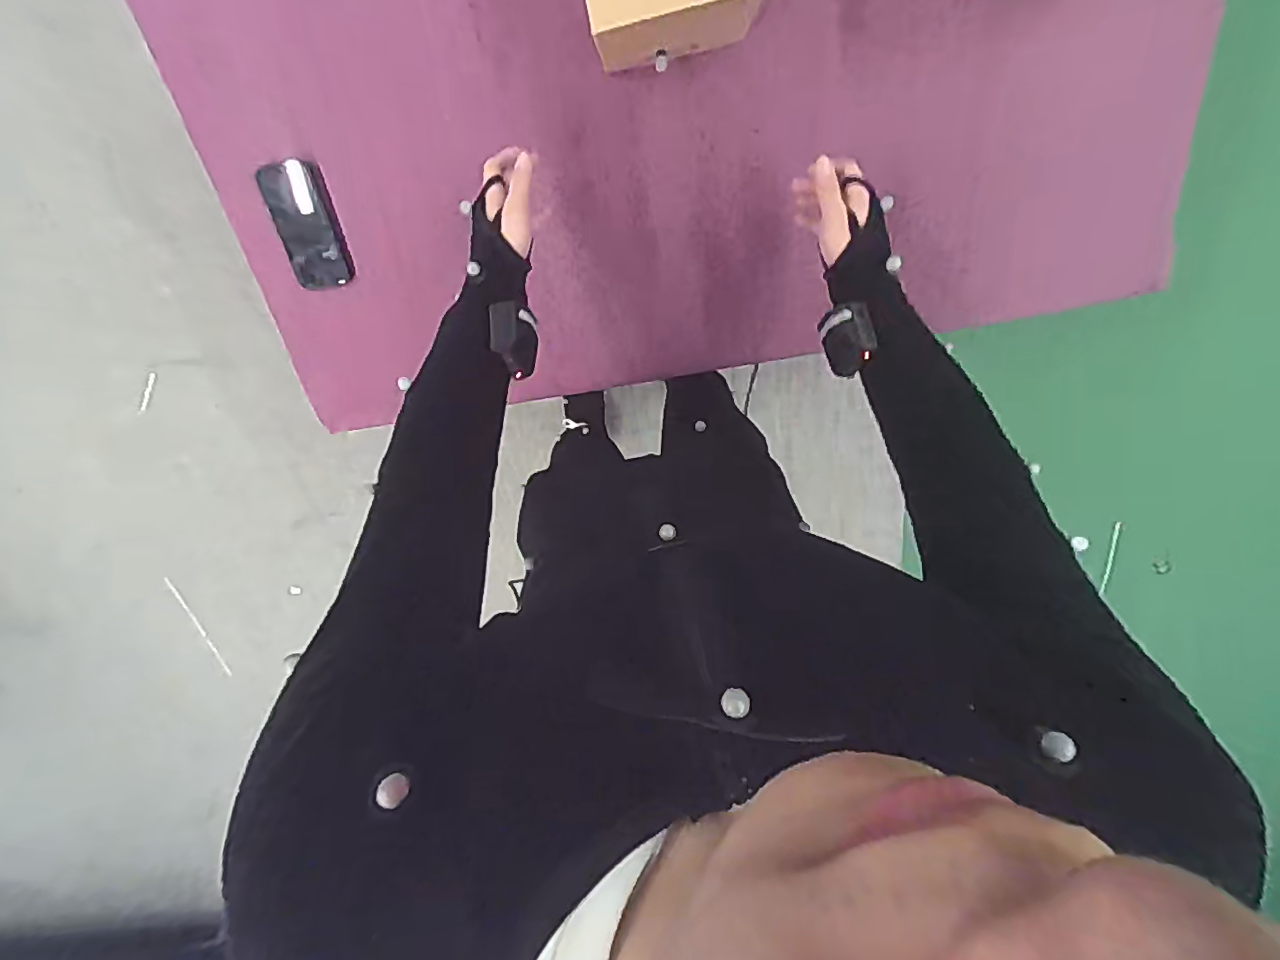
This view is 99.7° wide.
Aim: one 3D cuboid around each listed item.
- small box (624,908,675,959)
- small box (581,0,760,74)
[{"bbox_3d":[0.036,1.655,1.907,0.168,0.176,0.179,-3,114,5],"label":"small box"},{"bbox_3d":[0.019,-0.533,0.523,0.168,0.176,0.179,-9,115,8],"label":"small box"}]
